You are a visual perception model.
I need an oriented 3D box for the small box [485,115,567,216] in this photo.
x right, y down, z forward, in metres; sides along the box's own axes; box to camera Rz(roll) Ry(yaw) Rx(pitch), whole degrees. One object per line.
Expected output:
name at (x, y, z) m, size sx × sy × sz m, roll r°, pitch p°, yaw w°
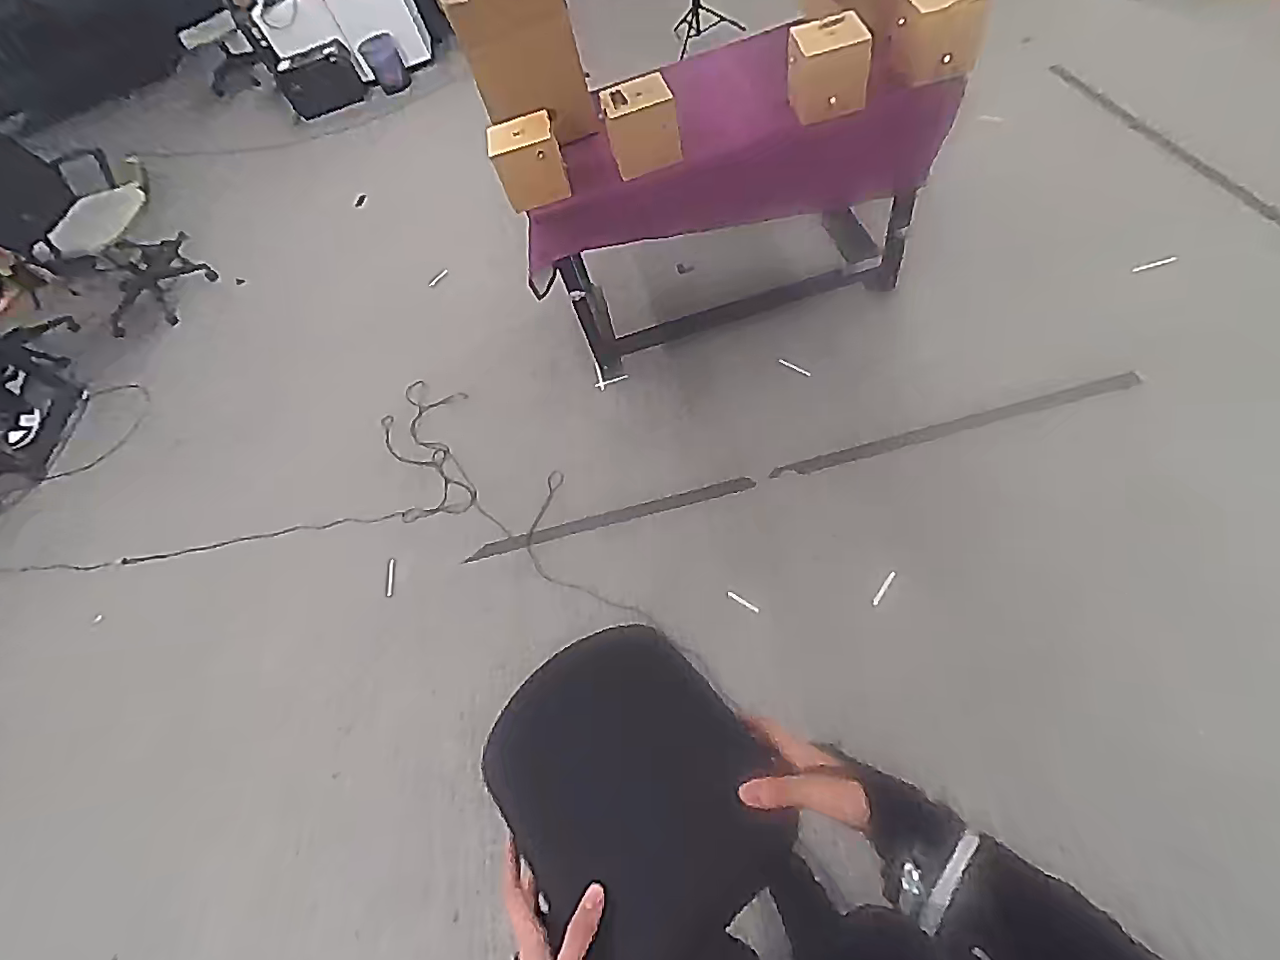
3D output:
small box at (-0.319, -0.878, 1.522) m, size 0.179 × 0.176 × 0.168 m, roll -15°, pitch 57°, yaw 4°

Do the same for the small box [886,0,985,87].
small box at (0.762, -1.174, 1.415) m, size 0.168 × 0.176 × 0.179 m, roll -11°, pitch 57°, yaw 9°
